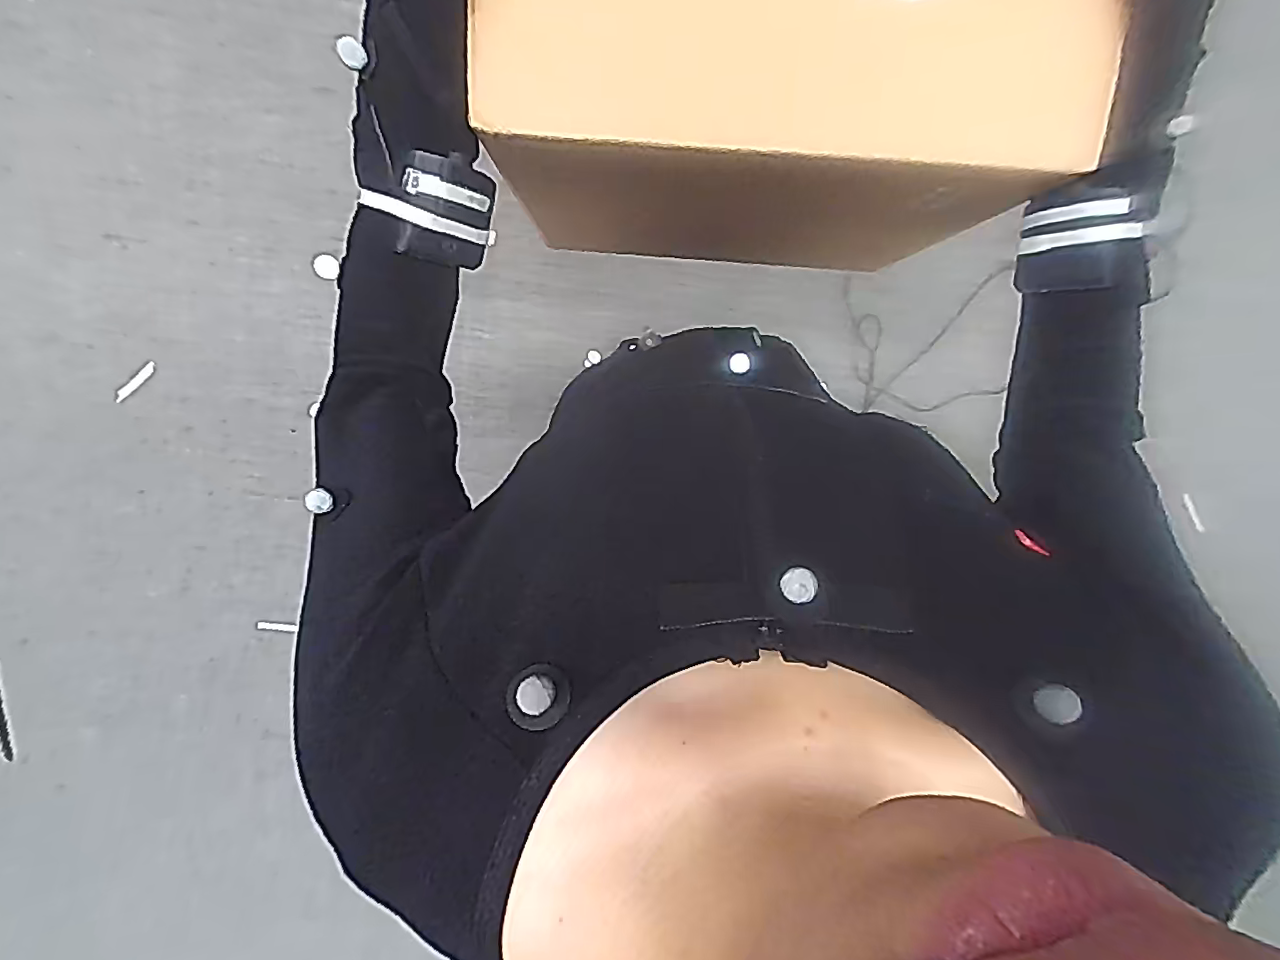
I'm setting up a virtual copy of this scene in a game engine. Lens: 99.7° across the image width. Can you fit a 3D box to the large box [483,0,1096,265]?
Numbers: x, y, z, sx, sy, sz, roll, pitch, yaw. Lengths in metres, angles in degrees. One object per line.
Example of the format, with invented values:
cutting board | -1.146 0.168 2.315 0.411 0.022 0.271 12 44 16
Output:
large box | 0.095 -0.394 0.485 0.408 0.320 0.320 3 100 -2
